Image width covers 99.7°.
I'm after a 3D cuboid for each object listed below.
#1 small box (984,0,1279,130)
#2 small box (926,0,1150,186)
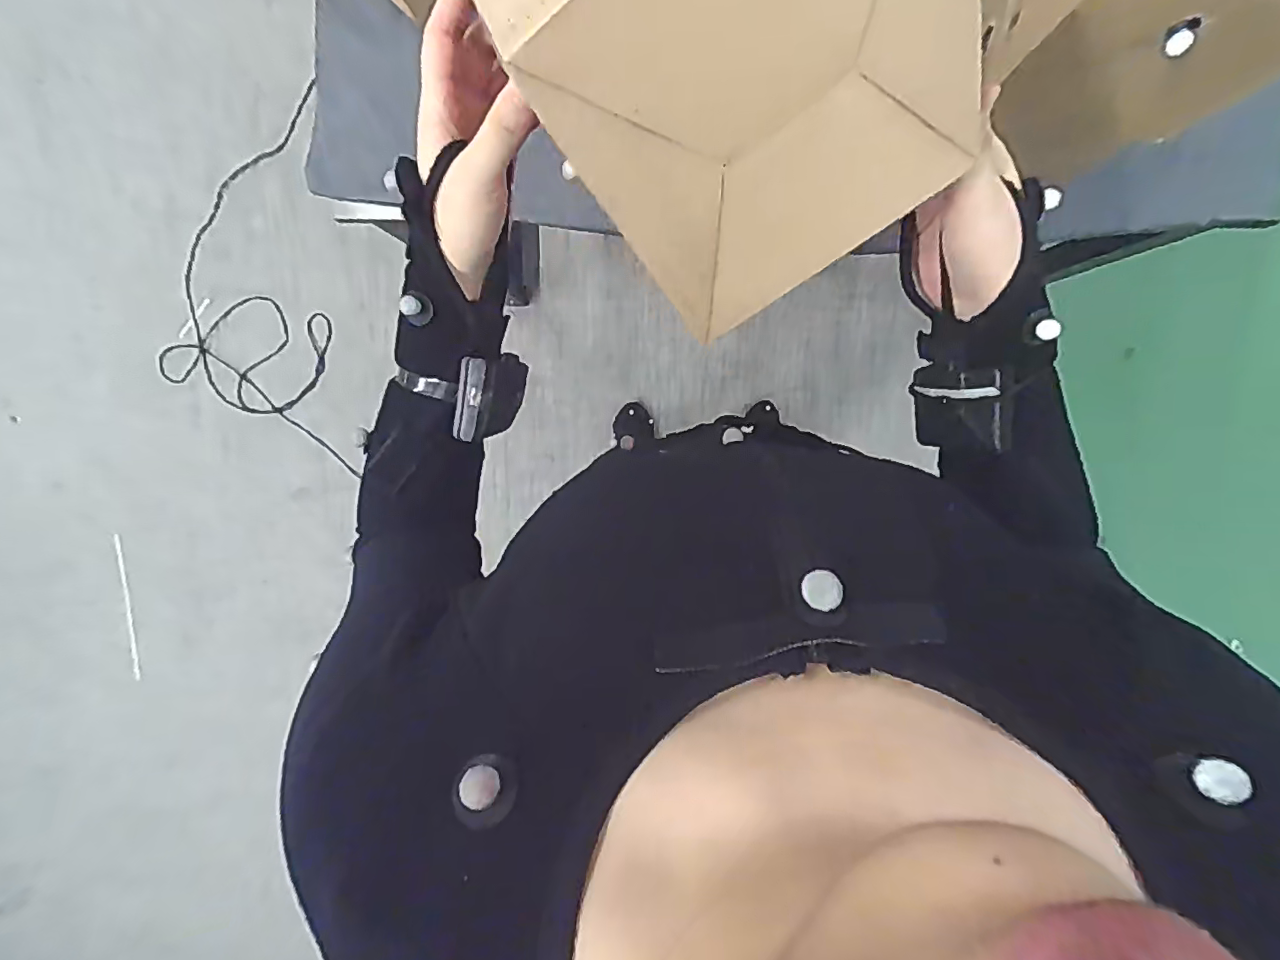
[{"bbox_3d":[0.422,-0.411,0.424,0.179,0.176,0.168,14,97,3],"label":"small box"},{"bbox_3d":[0.433,-0.446,0.583,0.168,0.176,0.179,3,98,4],"label":"small box"}]
